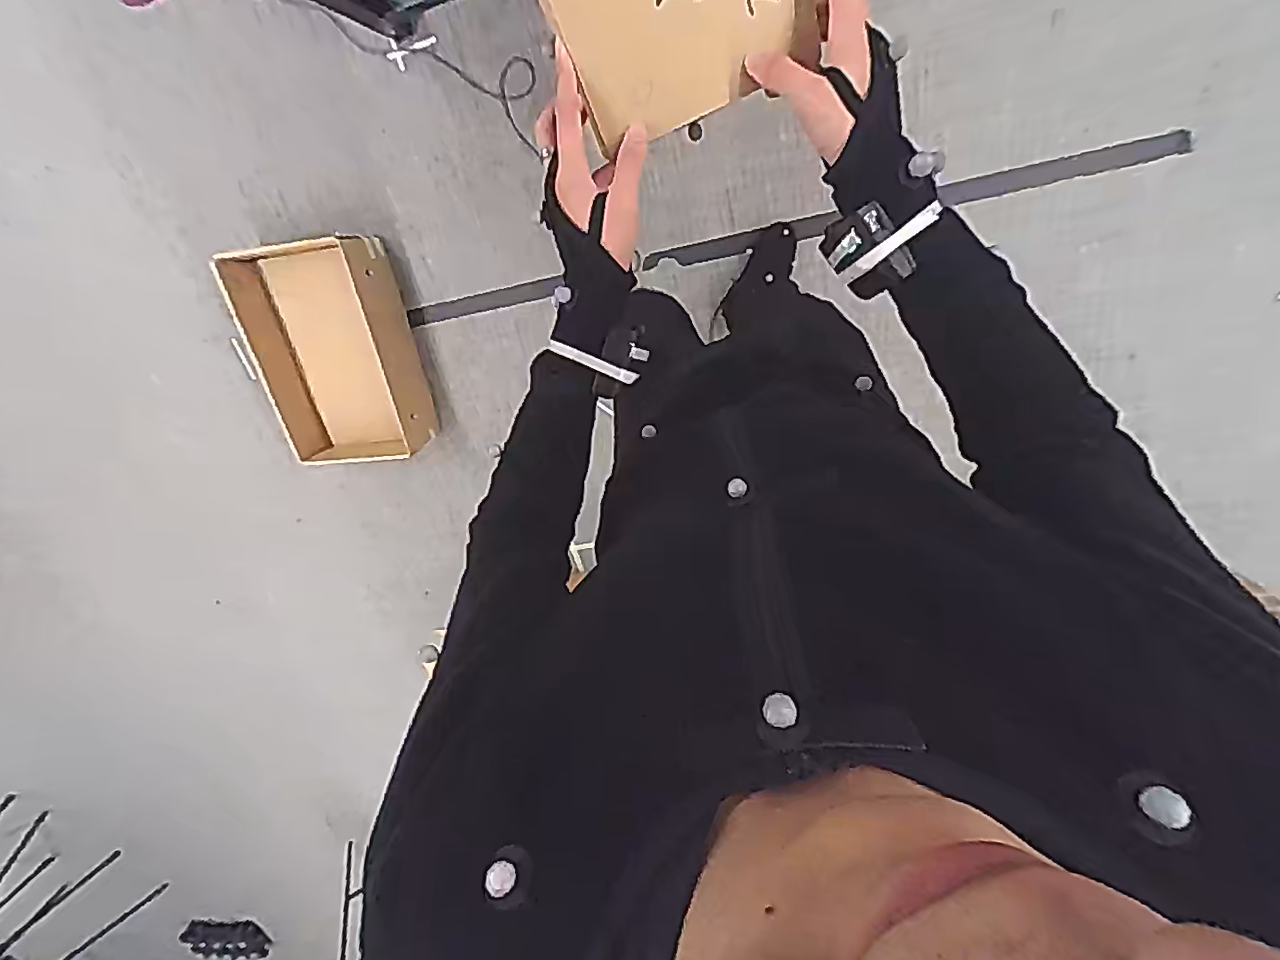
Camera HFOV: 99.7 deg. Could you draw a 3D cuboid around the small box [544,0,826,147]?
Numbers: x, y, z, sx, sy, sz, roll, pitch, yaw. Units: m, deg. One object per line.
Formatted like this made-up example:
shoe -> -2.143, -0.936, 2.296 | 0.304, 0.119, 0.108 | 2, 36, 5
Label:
small box -> 0.017, -0.384, 0.423 | 0.179, 0.176, 0.168 | -22, 123, 7
